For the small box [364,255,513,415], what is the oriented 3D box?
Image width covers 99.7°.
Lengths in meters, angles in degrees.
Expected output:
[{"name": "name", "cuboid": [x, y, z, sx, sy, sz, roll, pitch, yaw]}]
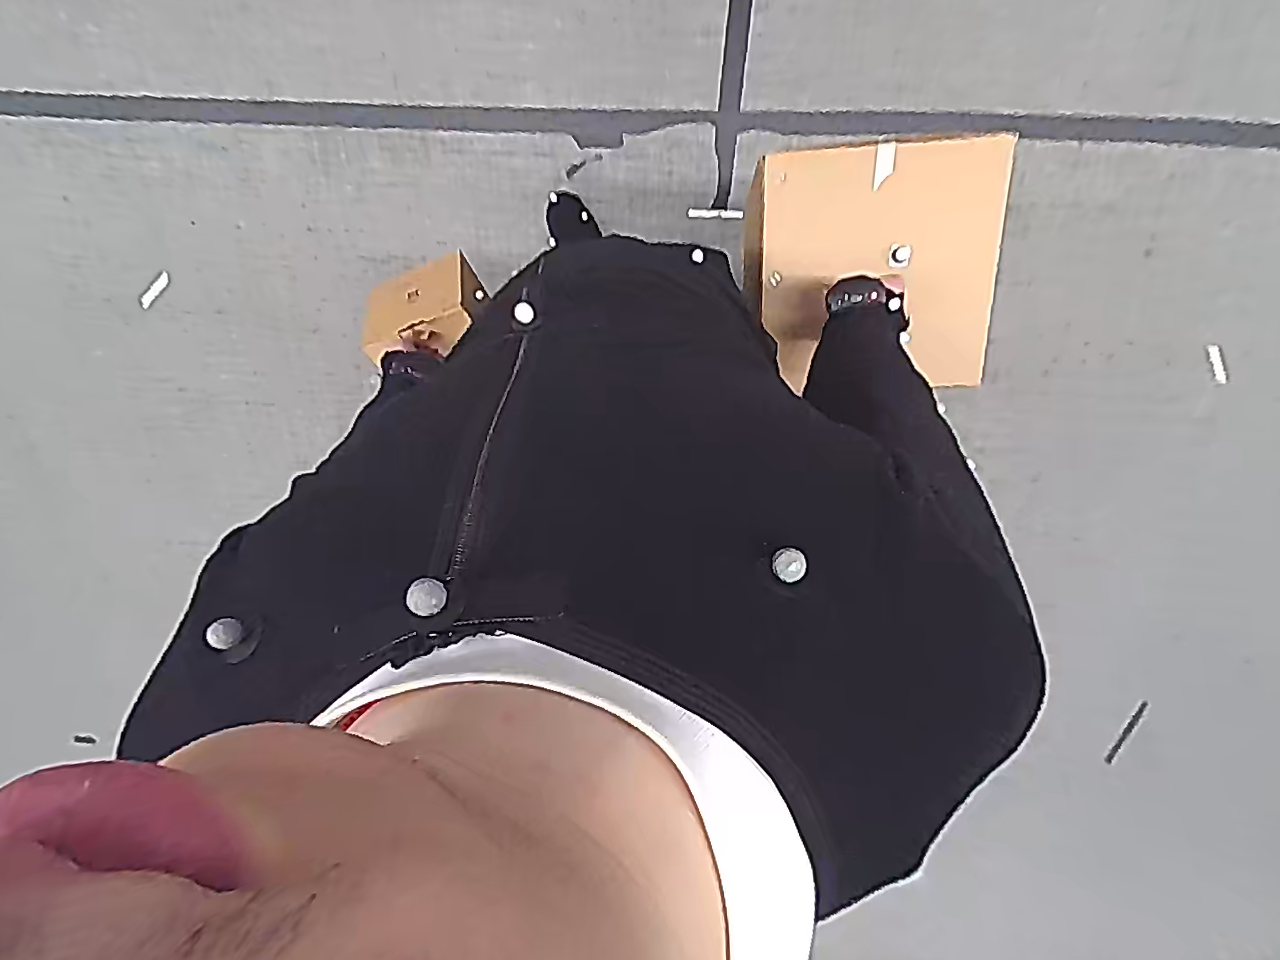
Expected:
[{"name": "small box", "cuboid": [-0.323, -0.230, 0.897, 0.168, 0.179, 0.176, -21, 139, 5]}]
